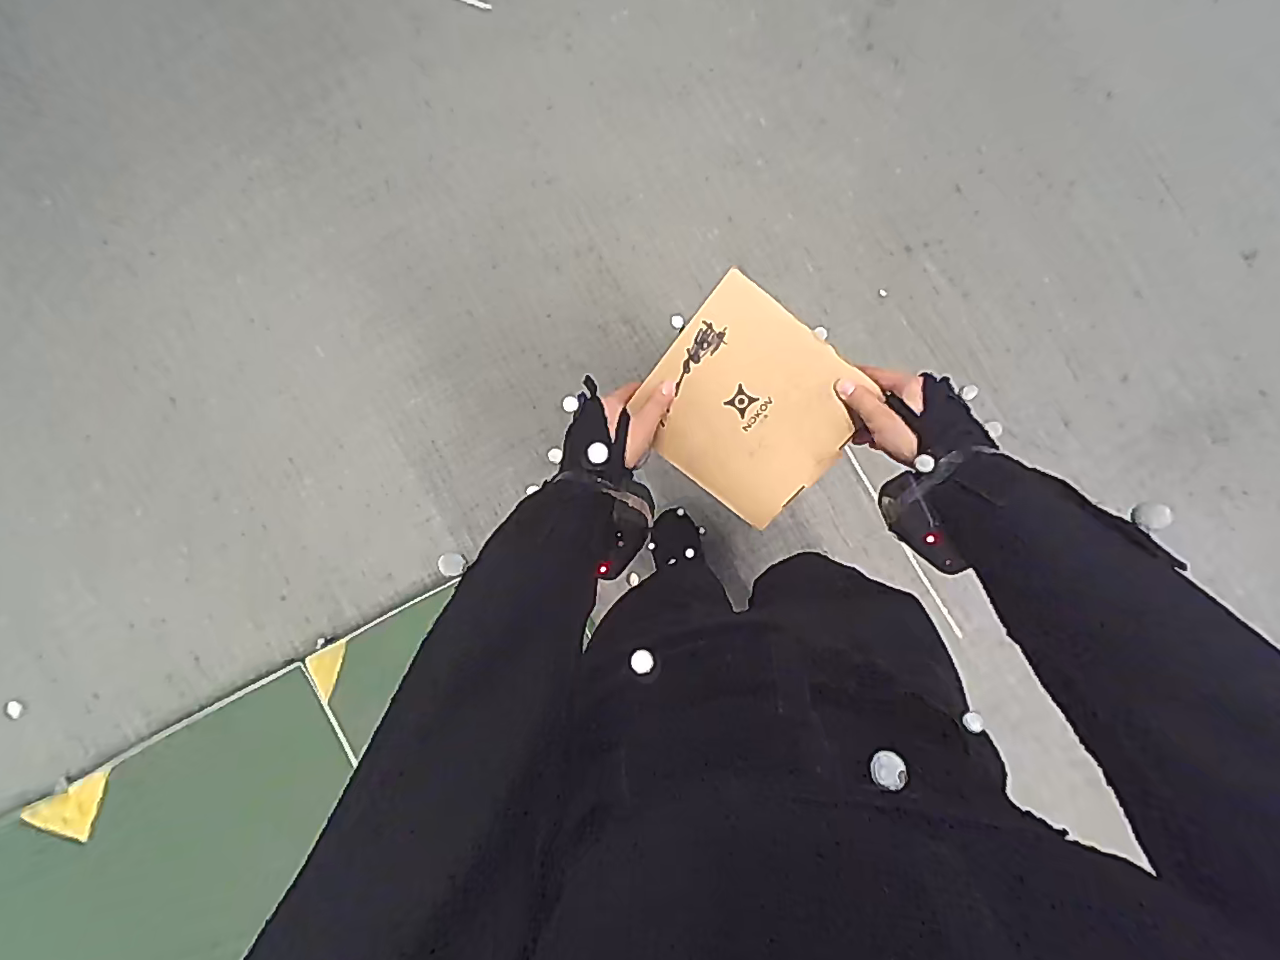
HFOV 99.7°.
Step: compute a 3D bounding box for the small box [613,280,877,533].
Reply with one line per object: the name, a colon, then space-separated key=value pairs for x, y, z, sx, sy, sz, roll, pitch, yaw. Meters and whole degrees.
small box: x=0.099 y=-0.083 z=0.555 sx=0.179 sy=0.176 sz=0.168 roll=37 pitch=108 yaw=-5
